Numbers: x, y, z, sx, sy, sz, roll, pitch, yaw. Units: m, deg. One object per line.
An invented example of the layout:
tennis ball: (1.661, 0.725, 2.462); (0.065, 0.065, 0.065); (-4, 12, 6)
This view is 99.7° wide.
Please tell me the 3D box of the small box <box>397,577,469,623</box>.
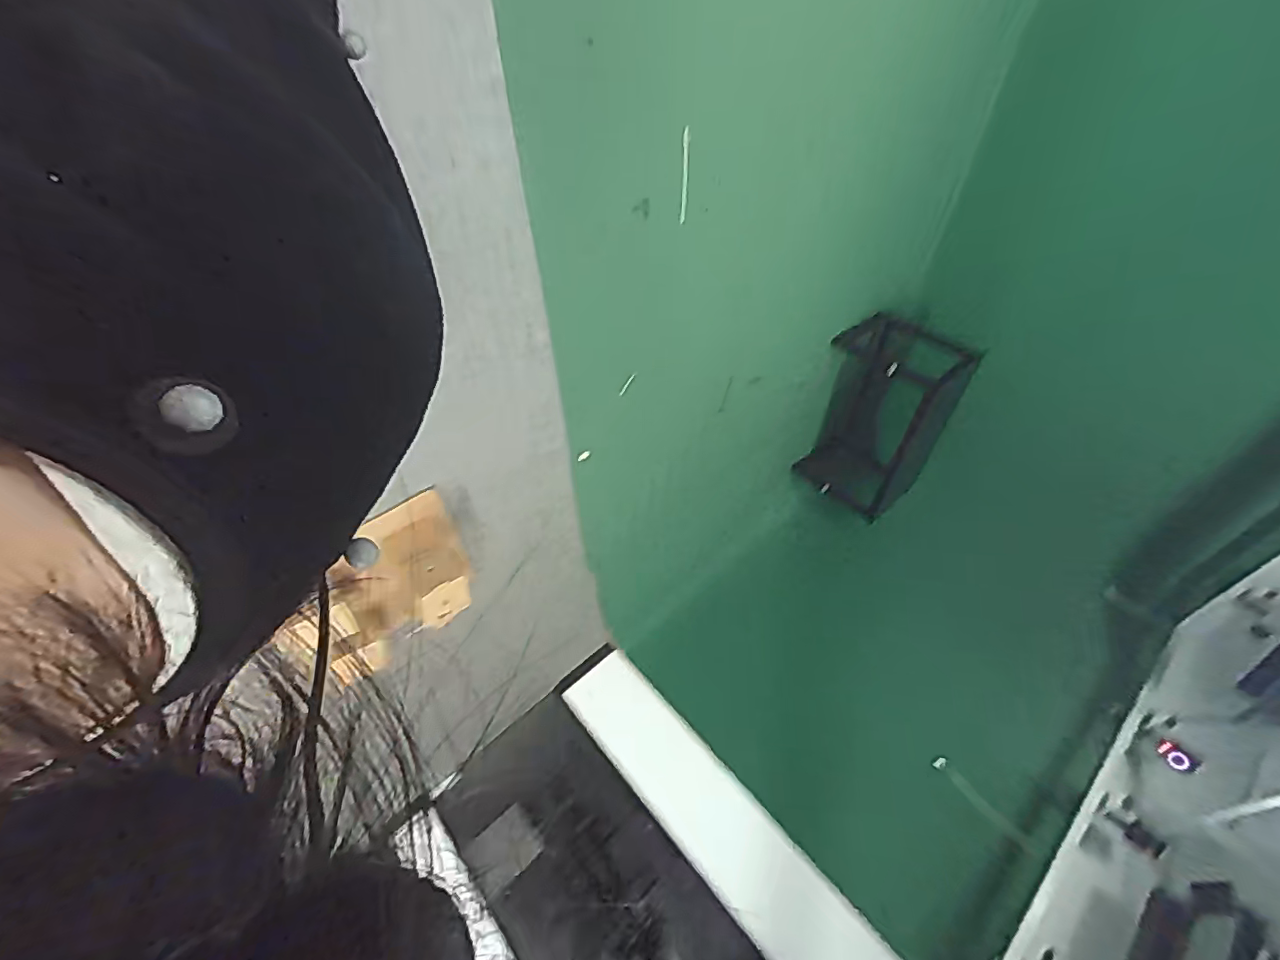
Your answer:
small box: (-0.823, 0.426, 2.141); (0.179, 0.176, 0.168); (-41, 148, -13)

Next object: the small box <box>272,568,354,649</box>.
small box: (-1.082, 0.414, 1.788); (0.168, 0.176, 0.179); (-28, 143, -31)

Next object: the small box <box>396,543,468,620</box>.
small box: (-0.717, 0.339, 1.862); (0.168, 0.176, 0.179); (-26, 142, -32)
